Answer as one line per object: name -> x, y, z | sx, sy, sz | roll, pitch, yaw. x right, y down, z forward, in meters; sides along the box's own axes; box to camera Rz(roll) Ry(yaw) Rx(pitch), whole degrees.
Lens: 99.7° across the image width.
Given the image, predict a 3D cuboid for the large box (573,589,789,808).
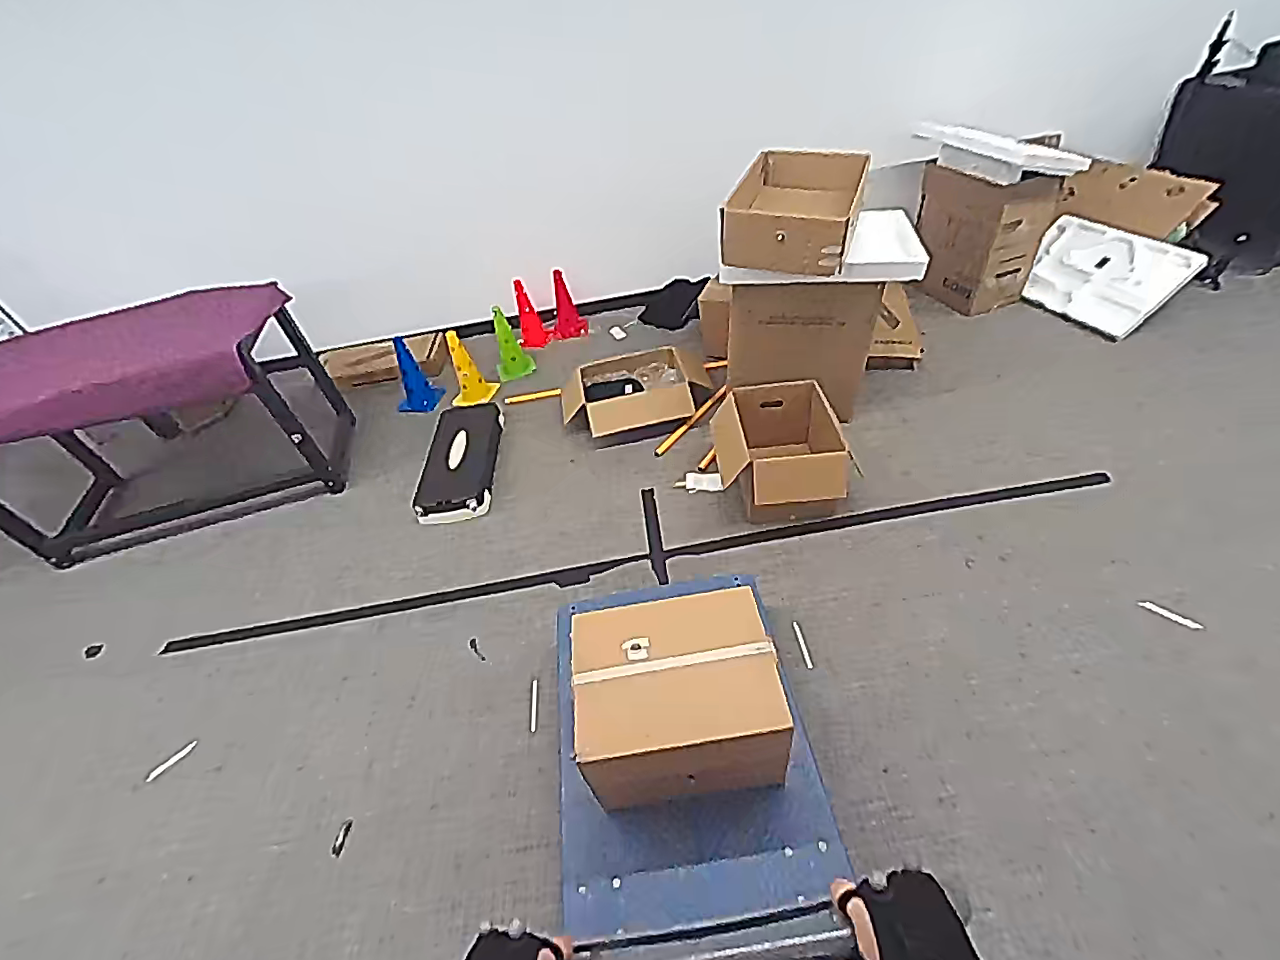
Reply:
large box -> 0.086, 0.490, 1.209 | 0.408, 0.320, 0.320 | -11, 43, 1
